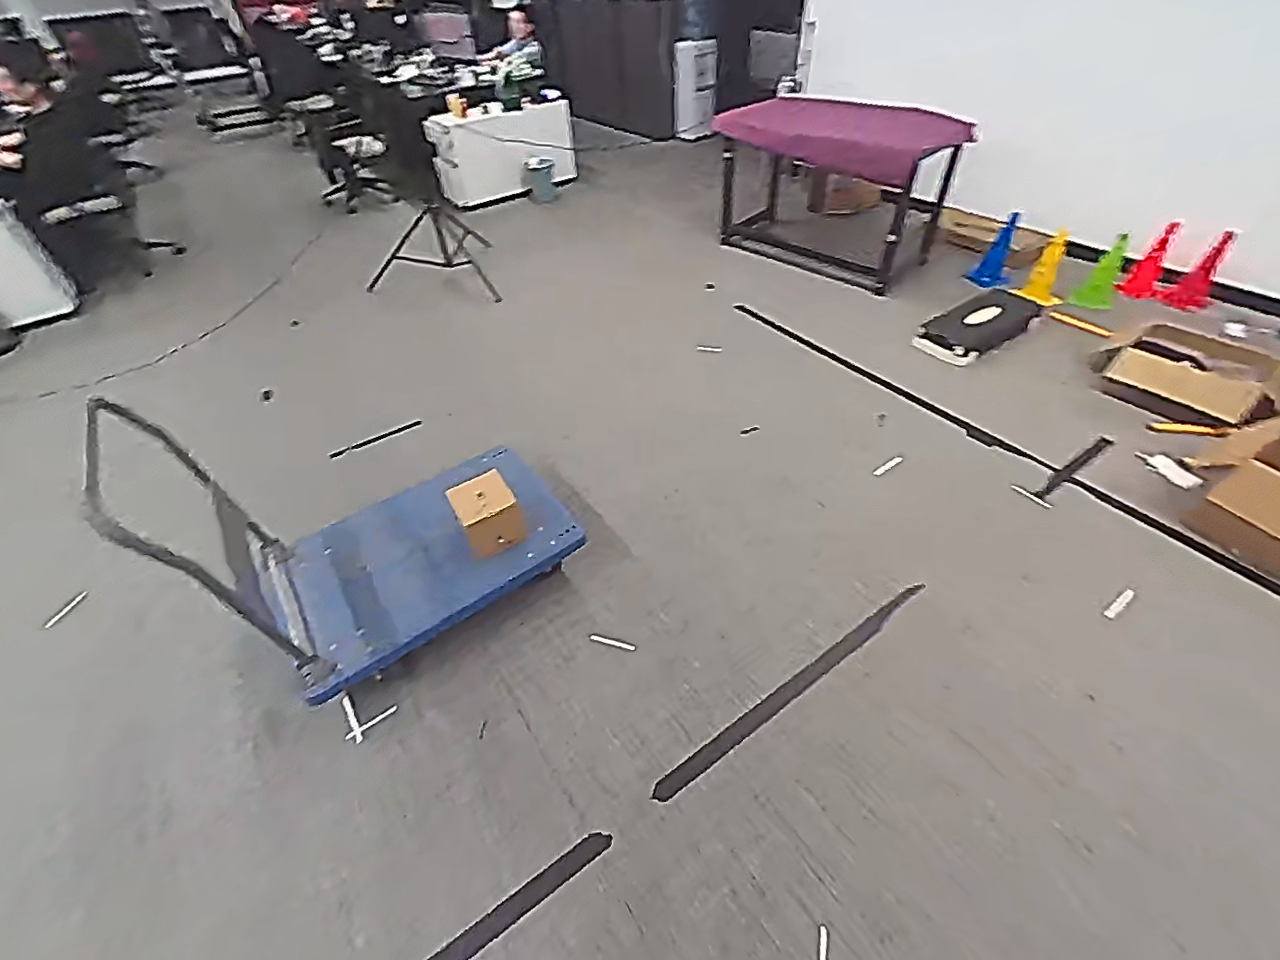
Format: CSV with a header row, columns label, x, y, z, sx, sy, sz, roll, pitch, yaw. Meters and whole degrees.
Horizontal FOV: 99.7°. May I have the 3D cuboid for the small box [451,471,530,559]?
label,x,y,z,sx,sy,sz,roll,pitch,yaw
small box,-0.460,0.110,1.669,0.168,0.176,0.179,-27,49,-20
